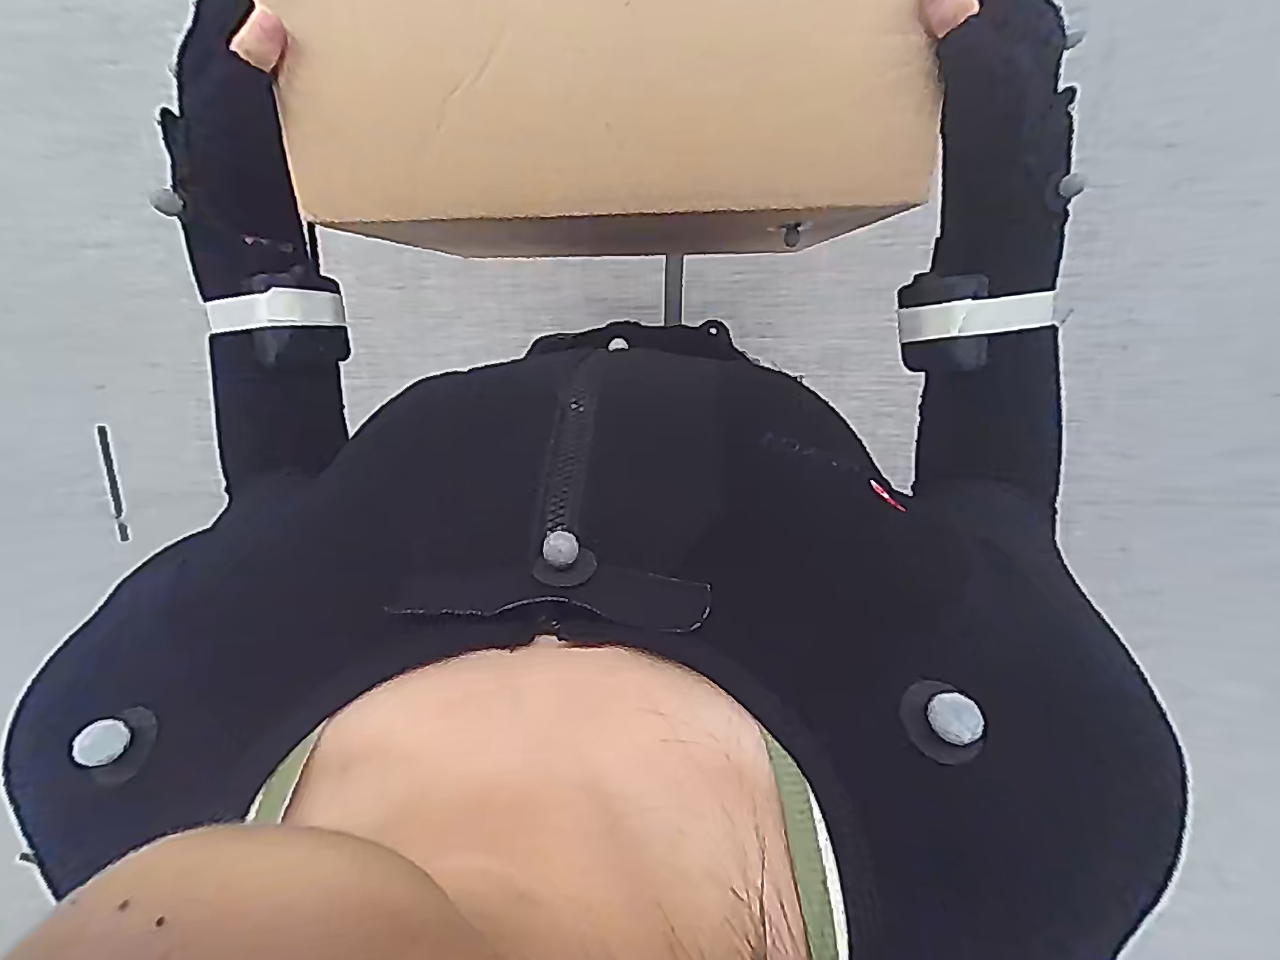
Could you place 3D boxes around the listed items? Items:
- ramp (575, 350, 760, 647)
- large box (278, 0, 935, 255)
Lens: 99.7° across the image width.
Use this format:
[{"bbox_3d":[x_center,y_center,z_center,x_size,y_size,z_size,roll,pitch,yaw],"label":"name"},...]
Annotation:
[{"bbox_3d":[0.079,0.109,1.627,0.509,0.206,0.991,-1,105,3],"label":"ramp"},{"bbox_3d":[-0.017,-0.370,0.455,0.408,0.320,0.320,-1,108,2],"label":"large box"}]
